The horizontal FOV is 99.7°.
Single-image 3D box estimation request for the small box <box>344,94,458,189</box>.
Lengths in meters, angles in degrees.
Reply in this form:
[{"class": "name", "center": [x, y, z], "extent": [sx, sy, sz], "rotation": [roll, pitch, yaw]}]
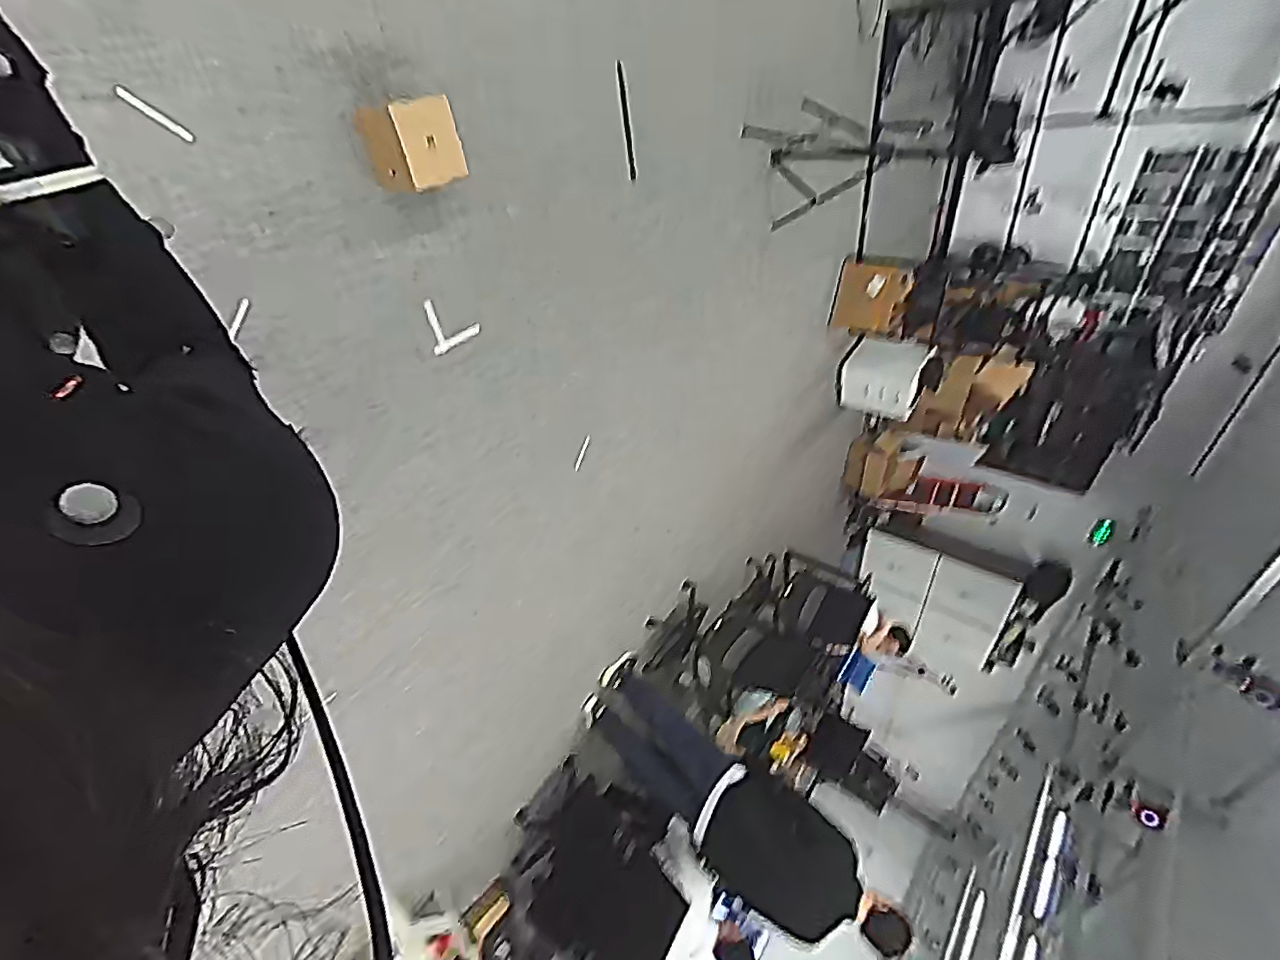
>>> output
[{"class": "small box", "center": [-0.594, -0.842, 1.347], "extent": [0.168, 0.176, 0.179], "rotation": [-43, 139, -35]}]
